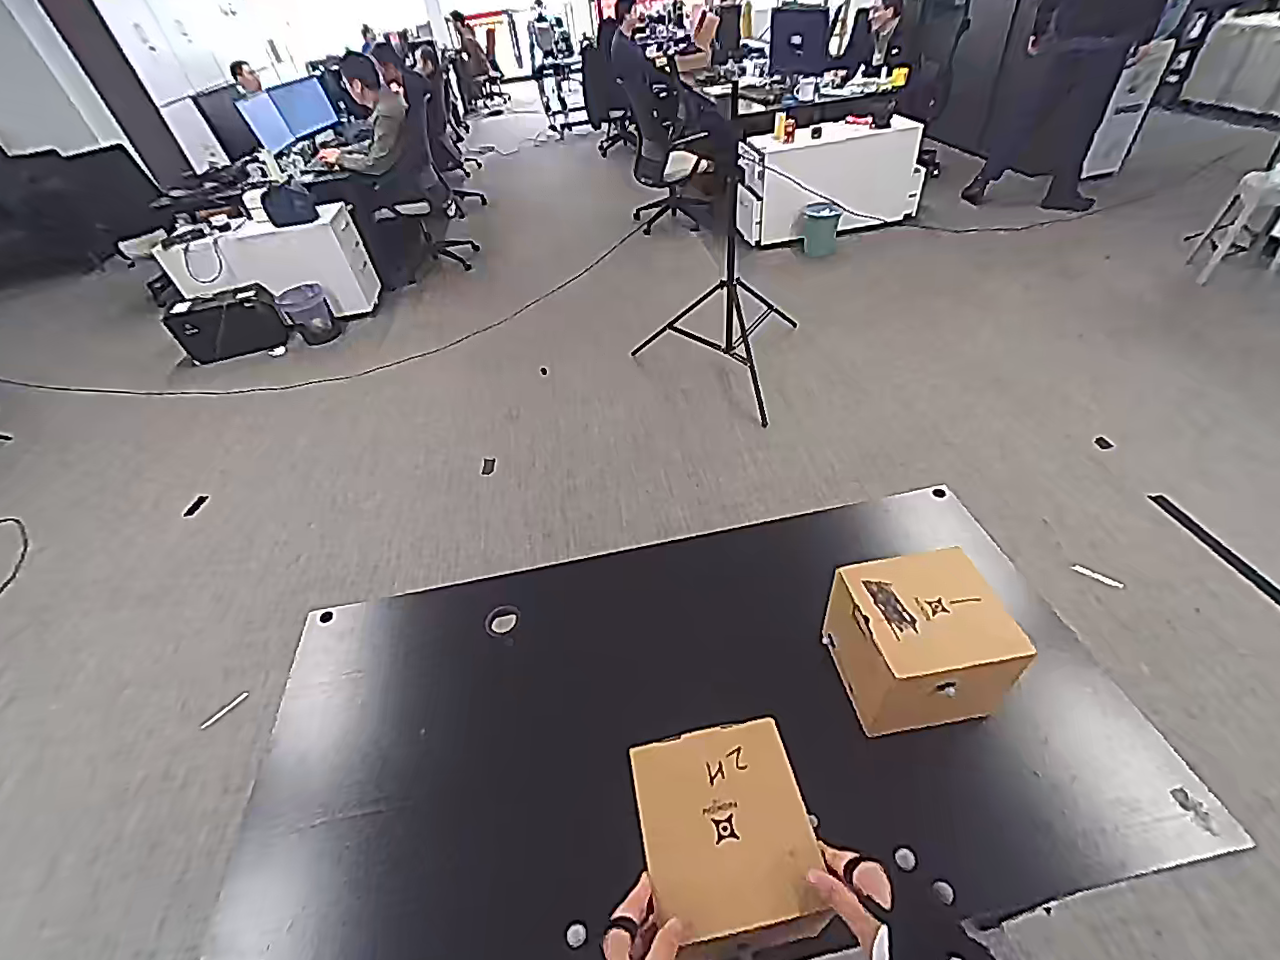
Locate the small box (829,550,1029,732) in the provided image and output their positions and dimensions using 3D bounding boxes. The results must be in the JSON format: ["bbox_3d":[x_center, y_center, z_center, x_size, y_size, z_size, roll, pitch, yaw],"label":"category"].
[{"bbox_3d":[0.374,0.224,0.744,0.179,0.176,0.168,-9,43,-2],"label":"small box"}]

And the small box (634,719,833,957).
[{"bbox_3d":[0.094,0.401,0.602,0.168,0.176,0.179,-11,43,-3],"label":"small box"}]
